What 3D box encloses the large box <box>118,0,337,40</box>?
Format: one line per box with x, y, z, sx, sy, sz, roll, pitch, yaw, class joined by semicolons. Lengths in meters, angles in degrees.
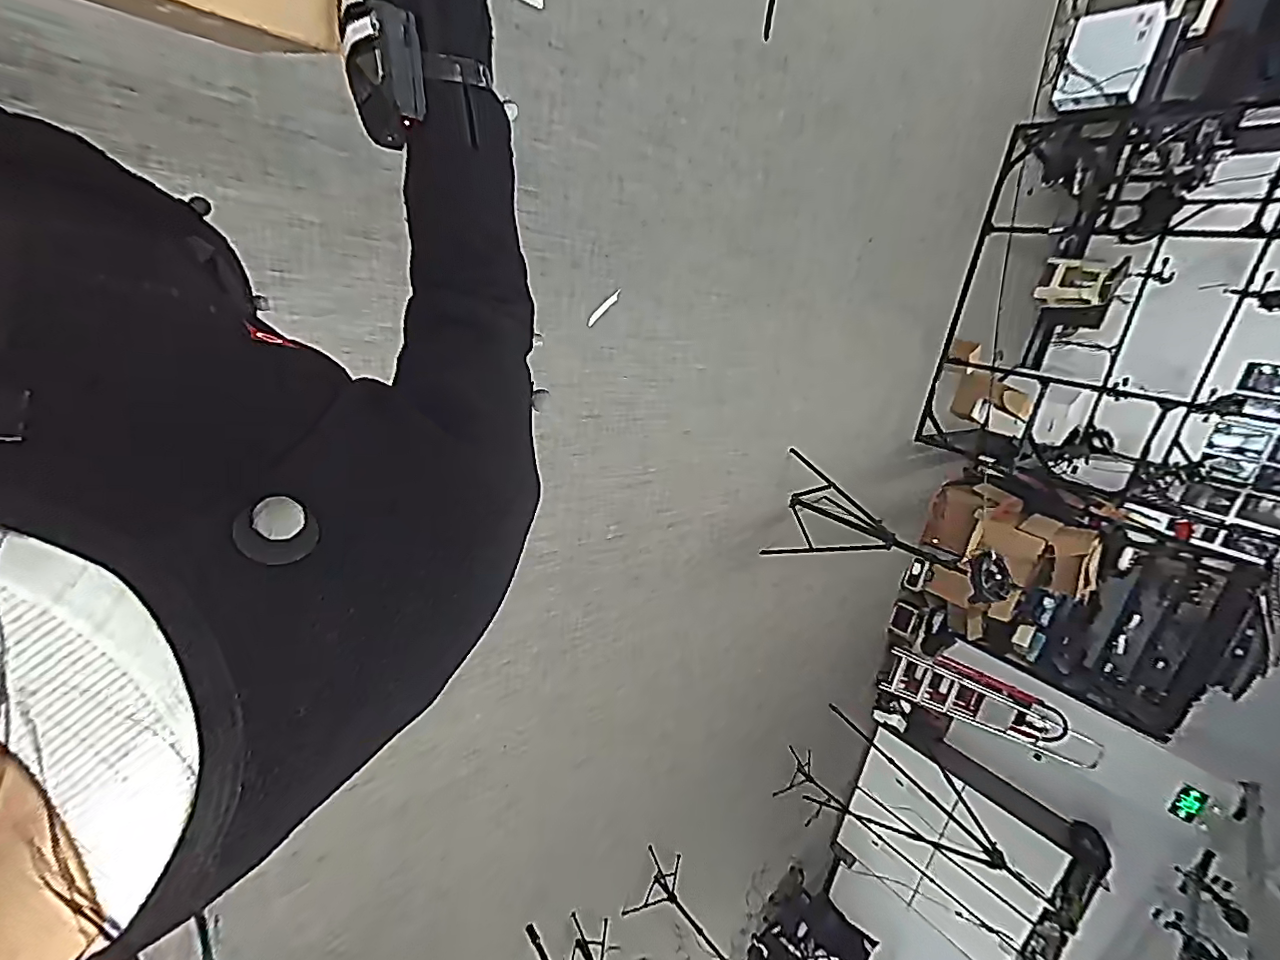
-0.402;-0.458;0.243;0.408;0.320;0.320;-10;127;-40;large box
